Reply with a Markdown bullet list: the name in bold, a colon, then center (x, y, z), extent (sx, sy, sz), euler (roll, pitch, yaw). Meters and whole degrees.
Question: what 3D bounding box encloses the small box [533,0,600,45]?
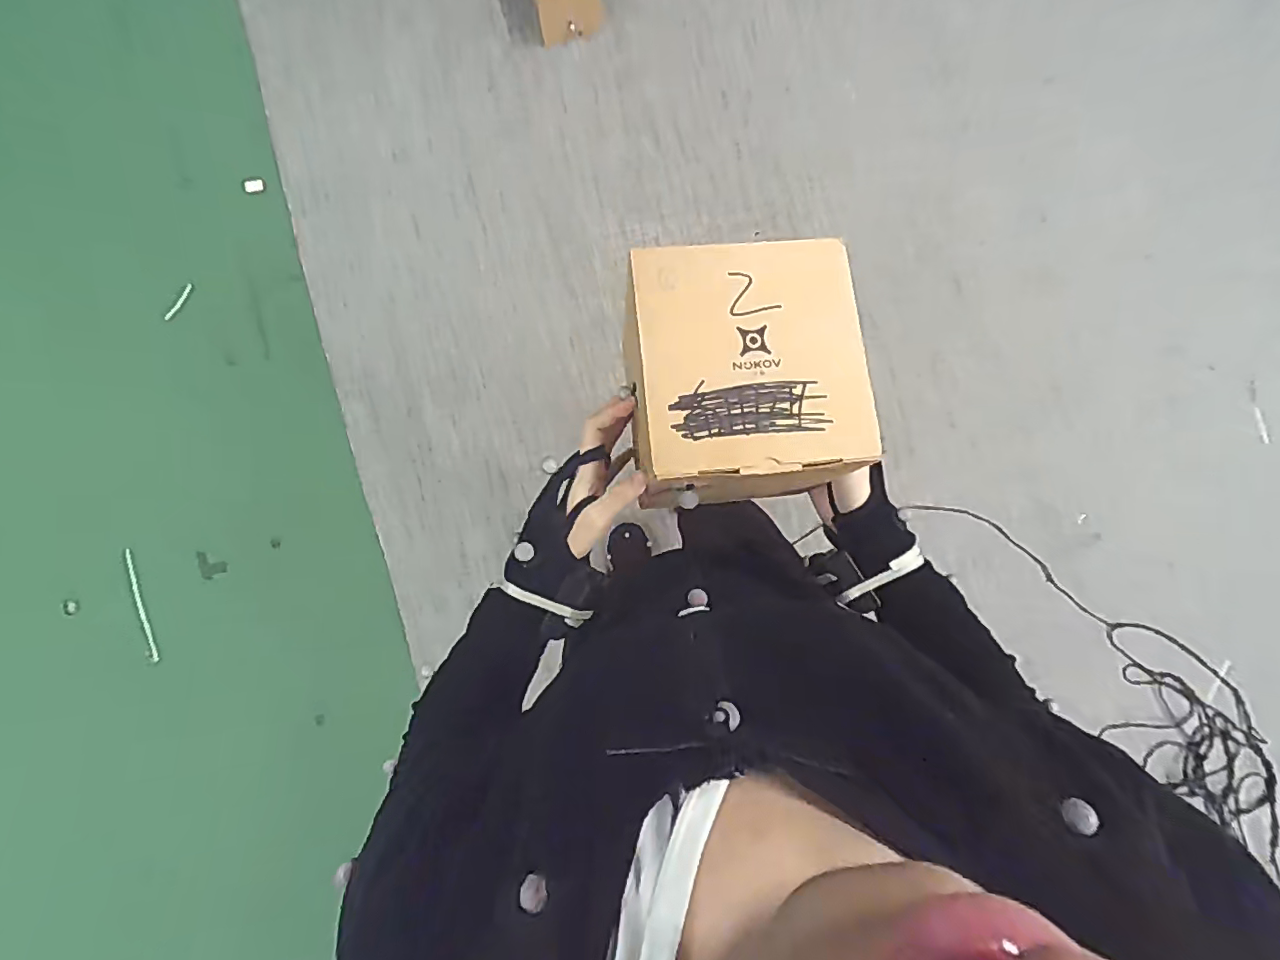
- **small box**: center (-0.202, -1.292, 1.401), extent (0.168, 0.176, 0.179), euler (-14, 92, -1)
